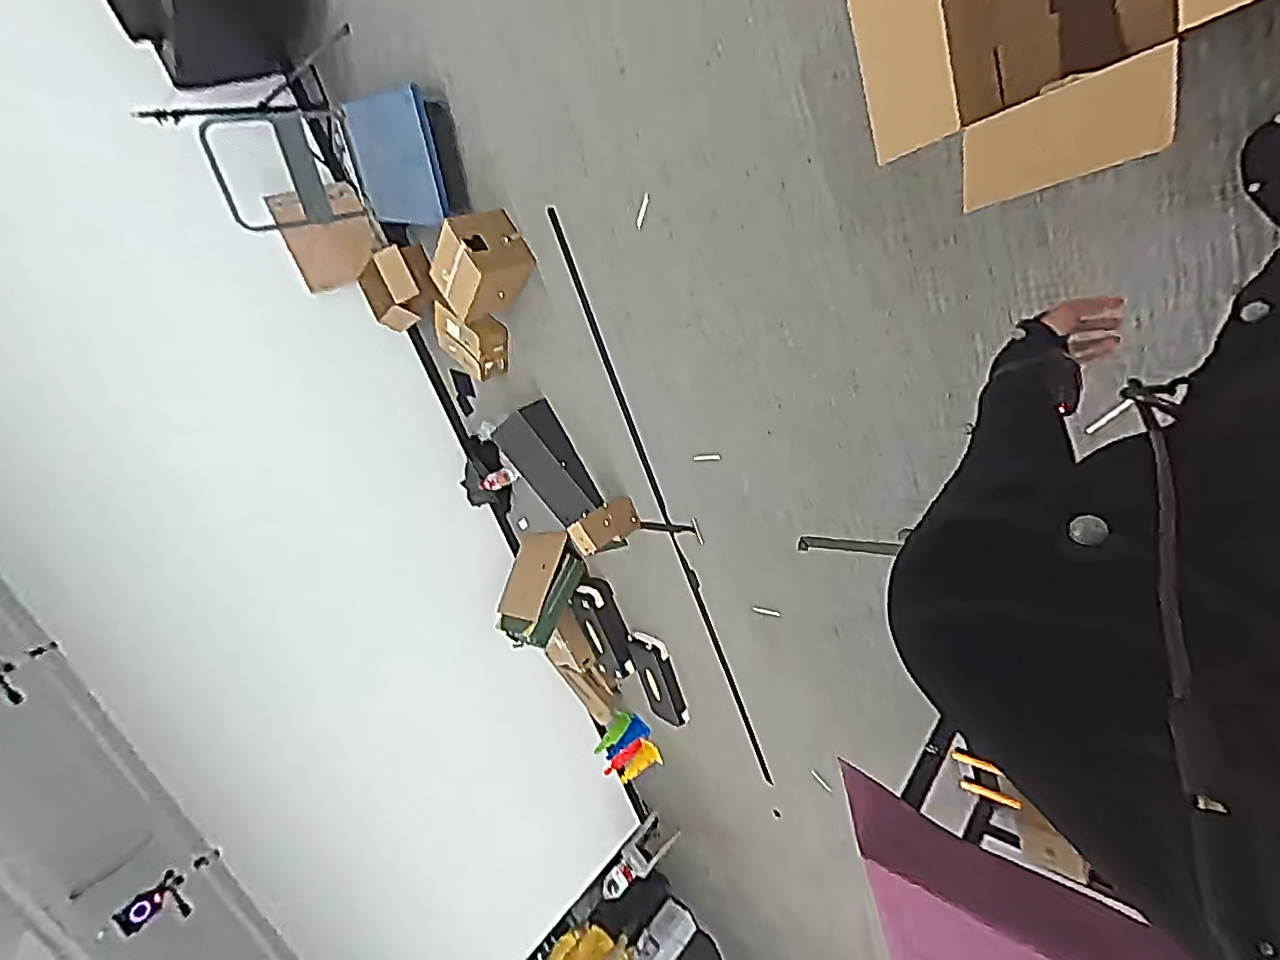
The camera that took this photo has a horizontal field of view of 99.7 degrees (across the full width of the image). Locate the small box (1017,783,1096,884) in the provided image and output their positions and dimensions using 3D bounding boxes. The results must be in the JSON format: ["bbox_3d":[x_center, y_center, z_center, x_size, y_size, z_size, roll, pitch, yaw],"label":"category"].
[{"bbox_3d":[1.329,1.115,1.722,0.168,0.176,0.179,1,118,50],"label":"small box"}]
